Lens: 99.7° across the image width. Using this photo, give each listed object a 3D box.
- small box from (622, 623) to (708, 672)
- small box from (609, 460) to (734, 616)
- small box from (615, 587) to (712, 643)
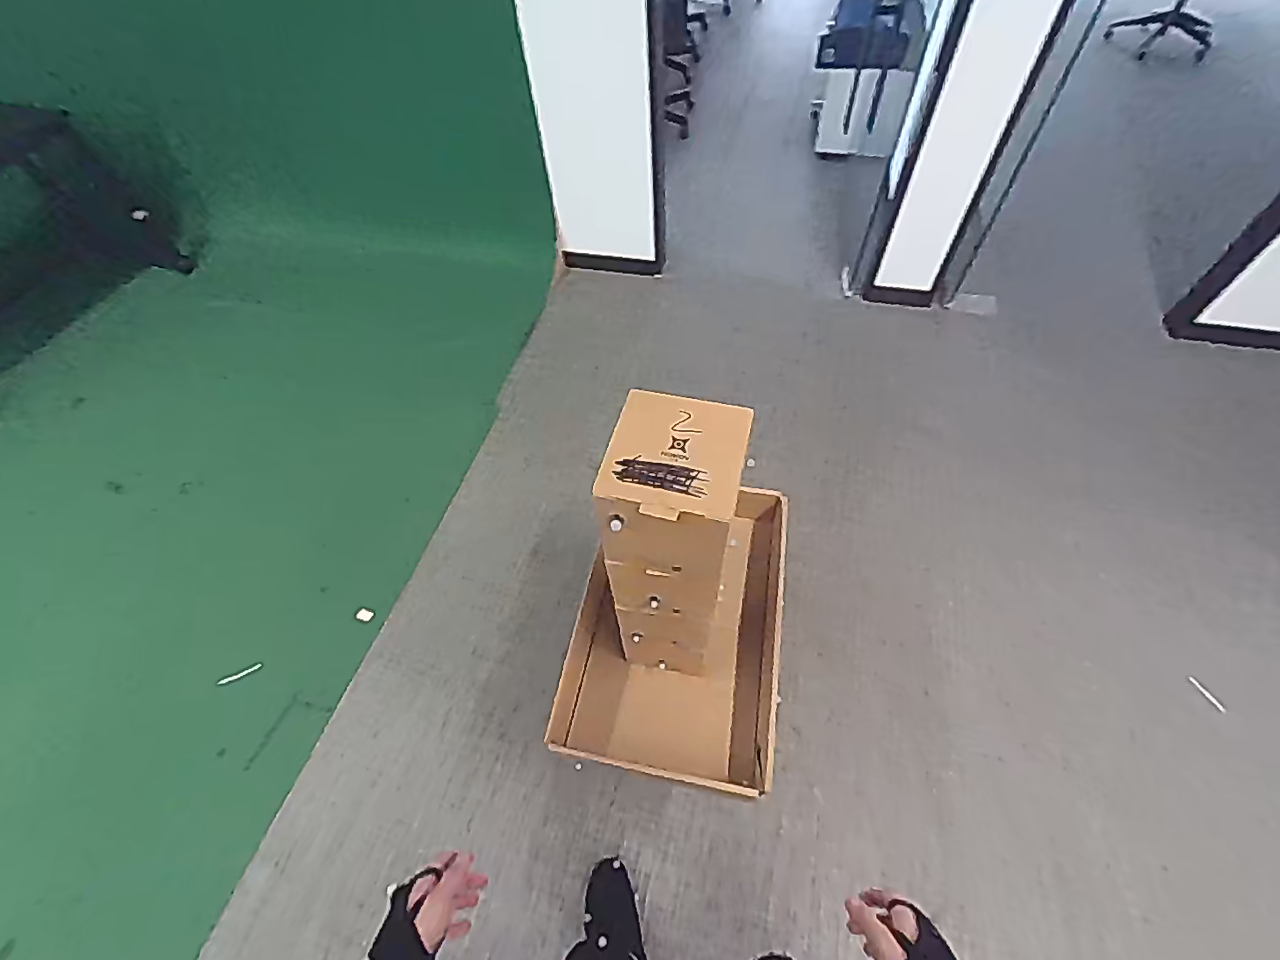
[{"bbox_3d":[0.065,0.277,1.125,0.168,0.176,0.179,8,56,10],"label":"small box"},{"bbox_3d":[0.052,0.094,0.855,0.168,0.176,0.179,7,56,7],"label":"small box"},{"bbox_3d":[0.056,0.183,0.991,0.168,0.176,0.179,7,55,7],"label":"small box"}]
